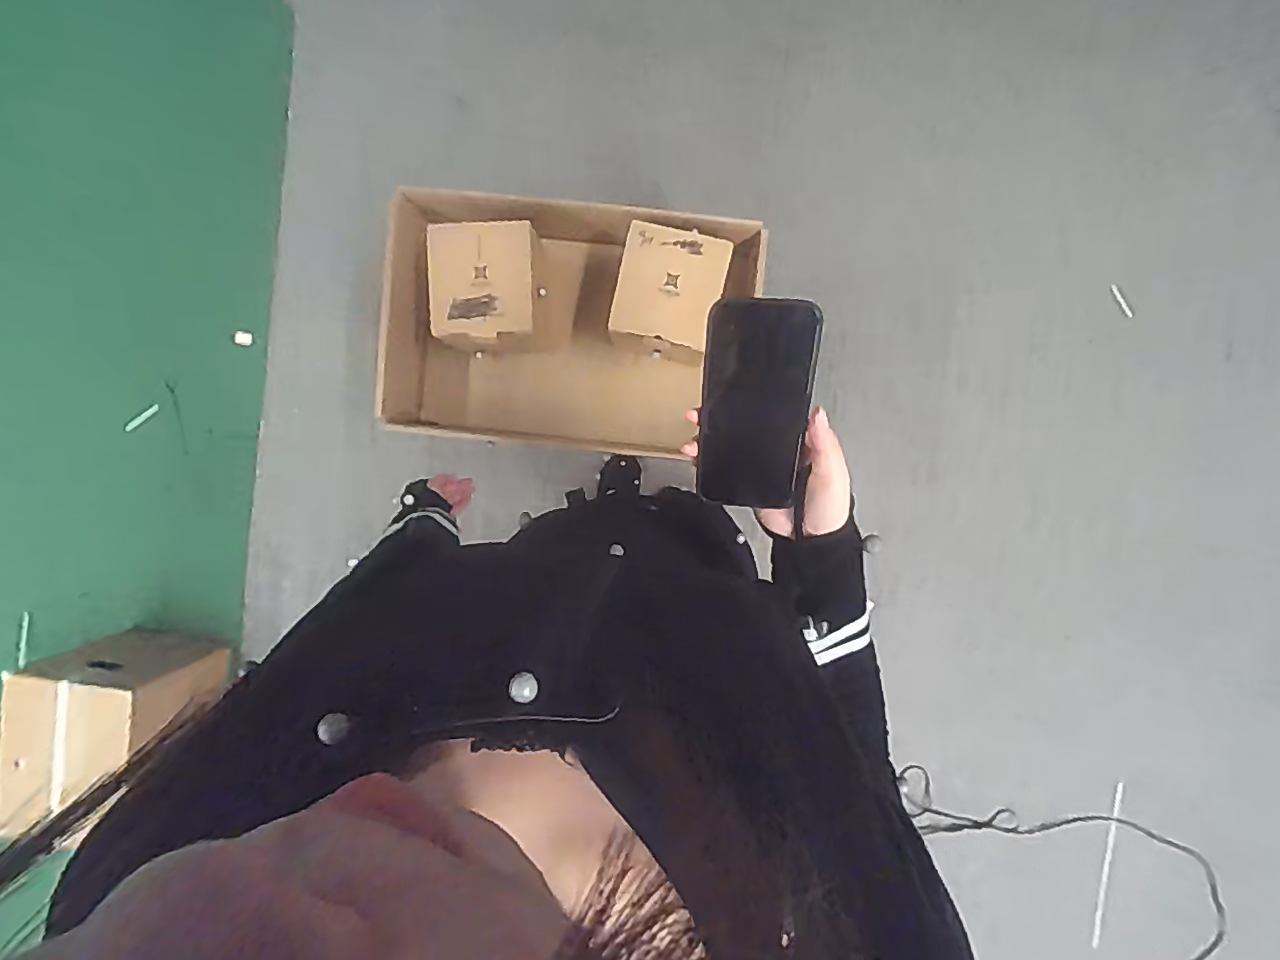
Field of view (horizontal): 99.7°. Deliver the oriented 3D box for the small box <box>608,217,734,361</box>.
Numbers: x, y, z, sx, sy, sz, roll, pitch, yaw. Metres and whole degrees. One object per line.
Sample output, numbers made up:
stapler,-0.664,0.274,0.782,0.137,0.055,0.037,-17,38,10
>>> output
small box,0.052,-0.311,0.919,0.168,0.176,0.179,14,95,1
